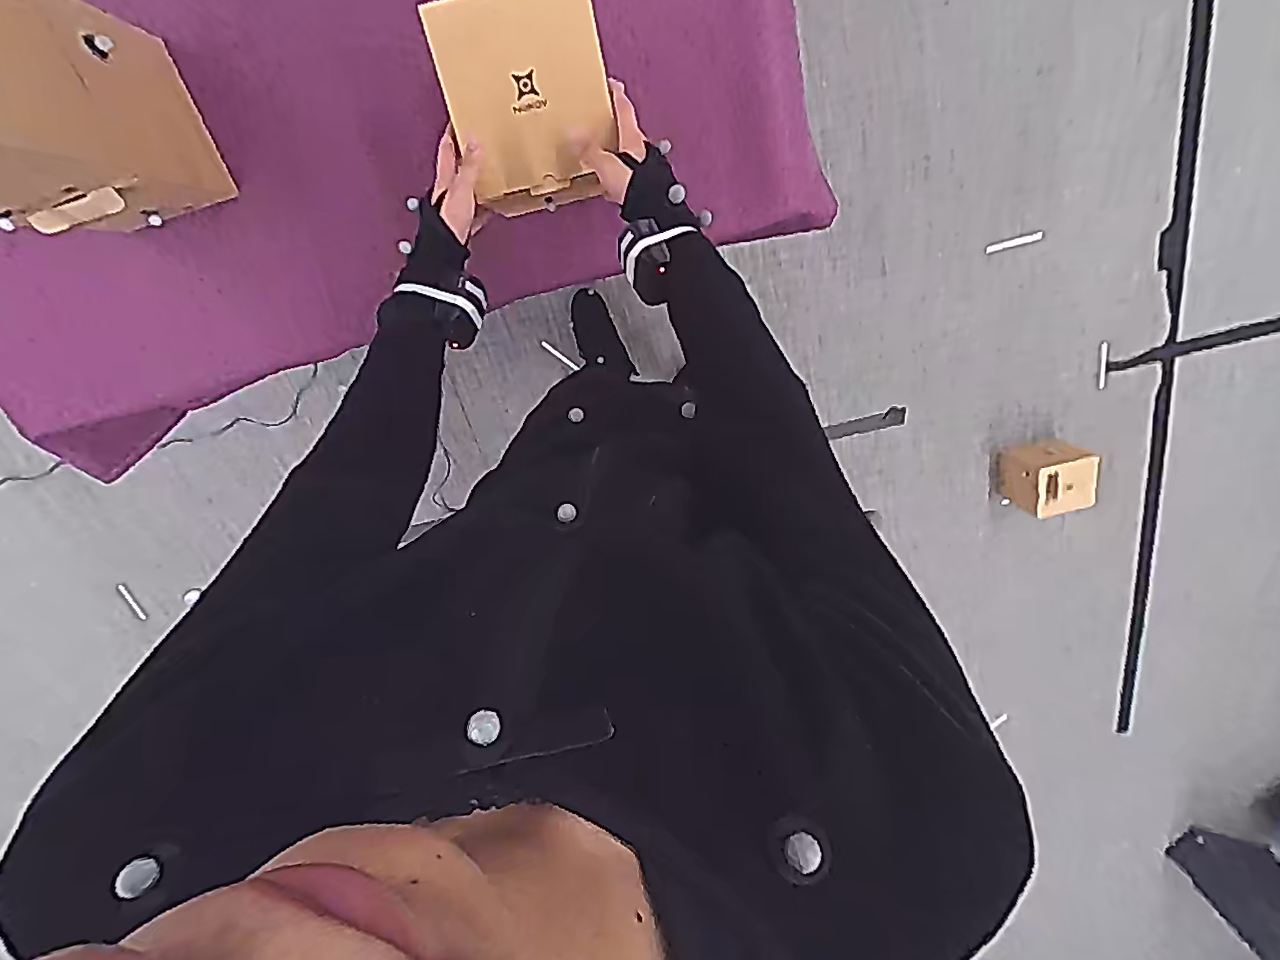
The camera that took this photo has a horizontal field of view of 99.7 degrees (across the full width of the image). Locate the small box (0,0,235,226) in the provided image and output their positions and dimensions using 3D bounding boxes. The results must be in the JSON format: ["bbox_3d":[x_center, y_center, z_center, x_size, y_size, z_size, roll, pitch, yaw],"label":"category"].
[{"bbox_3d":[-0.615,-0.398,0.601,0.168,0.176,0.179,-15,113,4],"label":"small box"}]

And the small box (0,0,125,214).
[{"bbox_3d":[-0.609,-0.335,0.449,0.168,0.176,0.179,-19,112,5],"label":"small box"}]

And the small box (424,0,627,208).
[{"bbox_3d":[-0.115,-0.426,0.615,0.168,0.176,0.179,-12,113,2],"label":"small box"}]
